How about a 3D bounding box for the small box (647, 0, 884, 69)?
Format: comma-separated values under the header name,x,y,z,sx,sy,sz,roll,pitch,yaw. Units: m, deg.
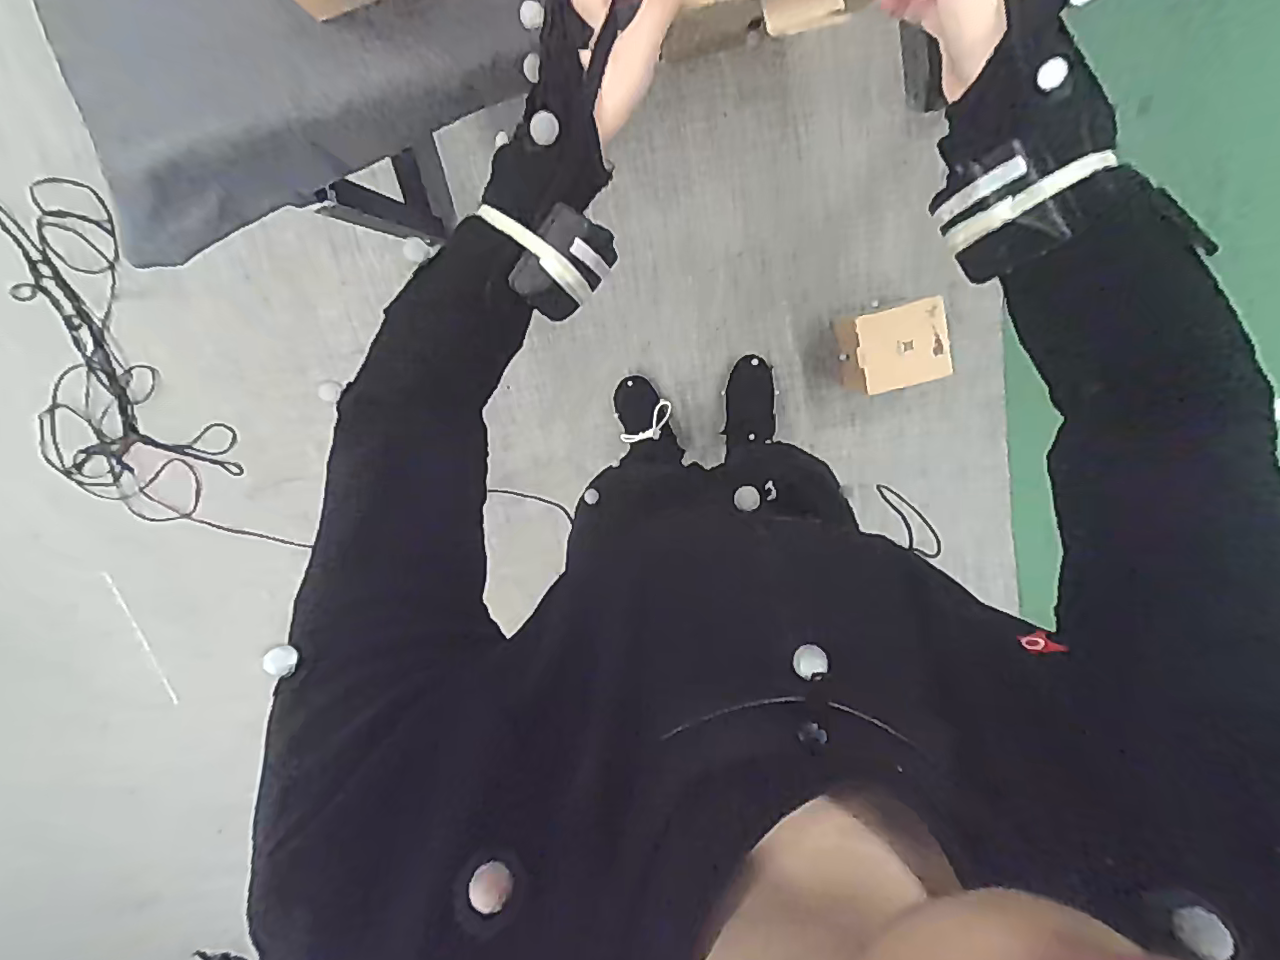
name,x,y,z,sx,sy,sz,roll,pitch,yaw
small box,0.076,-0.382,0.324,0.168,0.176,0.179,-10,120,8
